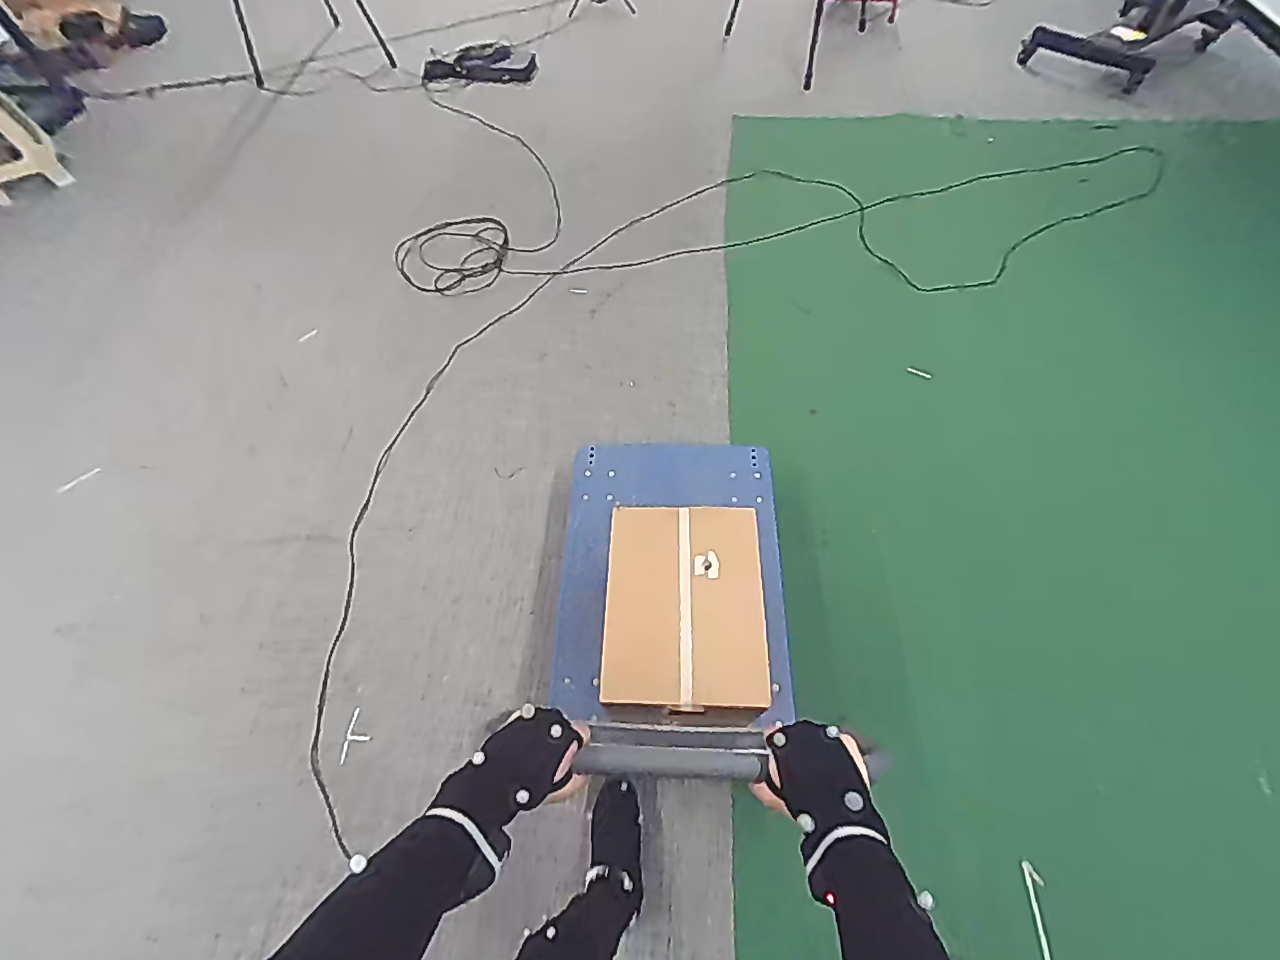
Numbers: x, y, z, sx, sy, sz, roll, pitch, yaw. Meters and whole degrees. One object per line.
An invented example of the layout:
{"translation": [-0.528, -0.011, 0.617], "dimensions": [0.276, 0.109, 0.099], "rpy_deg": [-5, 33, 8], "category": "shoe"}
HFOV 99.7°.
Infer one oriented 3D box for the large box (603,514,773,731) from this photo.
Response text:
{"translation": [0.096, 0.324, 1.204], "dimensions": [0.320, 0.320, 0.408], "rpy_deg": [1, 58, 2], "category": "large box"}
